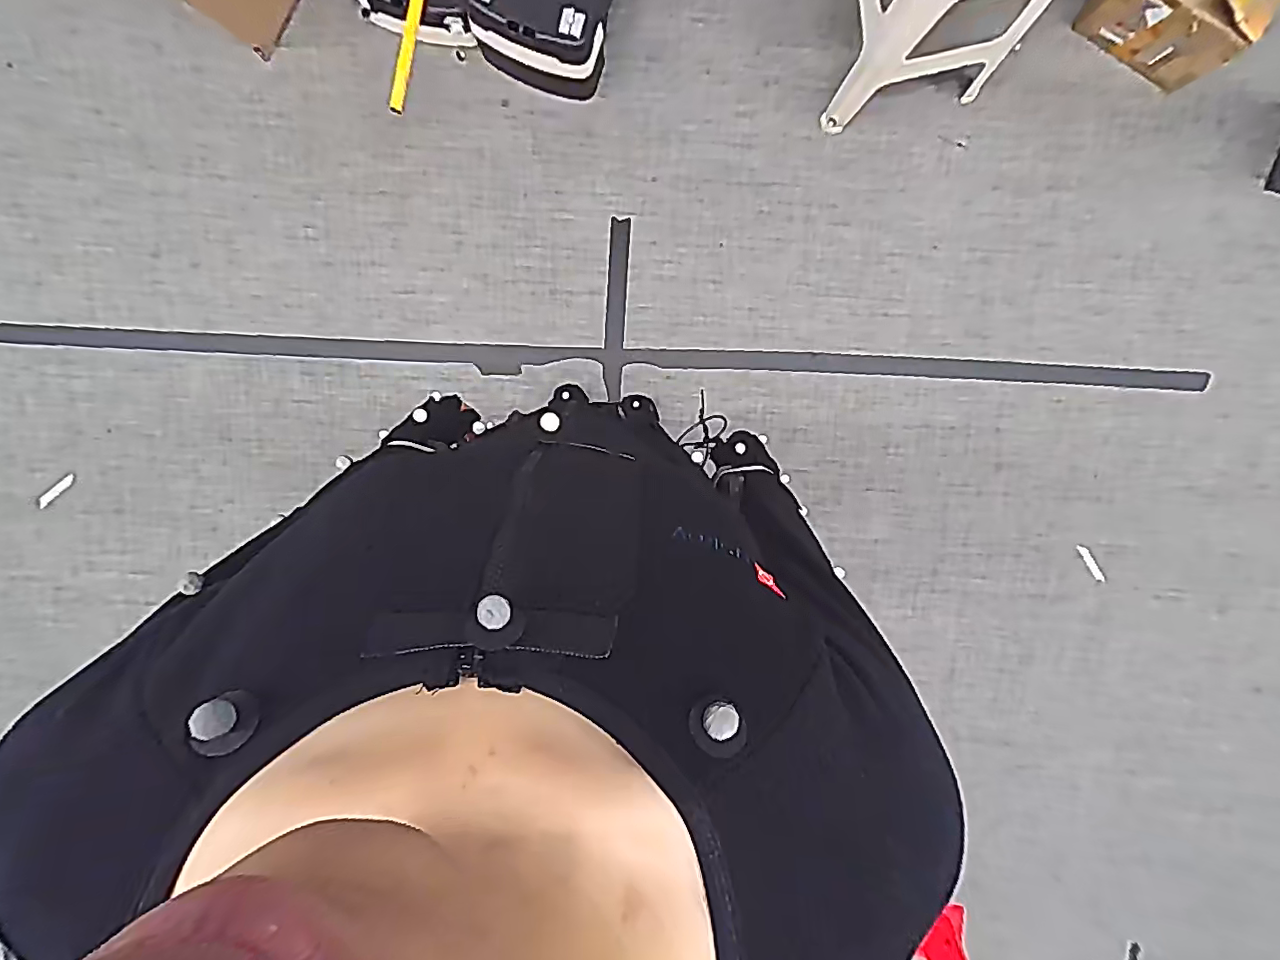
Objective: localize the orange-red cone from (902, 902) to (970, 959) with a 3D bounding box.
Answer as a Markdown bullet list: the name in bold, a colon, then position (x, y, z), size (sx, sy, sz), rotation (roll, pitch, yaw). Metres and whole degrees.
- **orange-red cone**: position (0.954, 1.484, 1.587), size (0.198, 0.360, 0.199), rotation (-1, 99, -1)

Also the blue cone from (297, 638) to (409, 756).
- **blue cone**: position (-0.774, 0.581, 1.409), size (0.192, 0.380, 0.193), rotation (-2, 100, 0)
